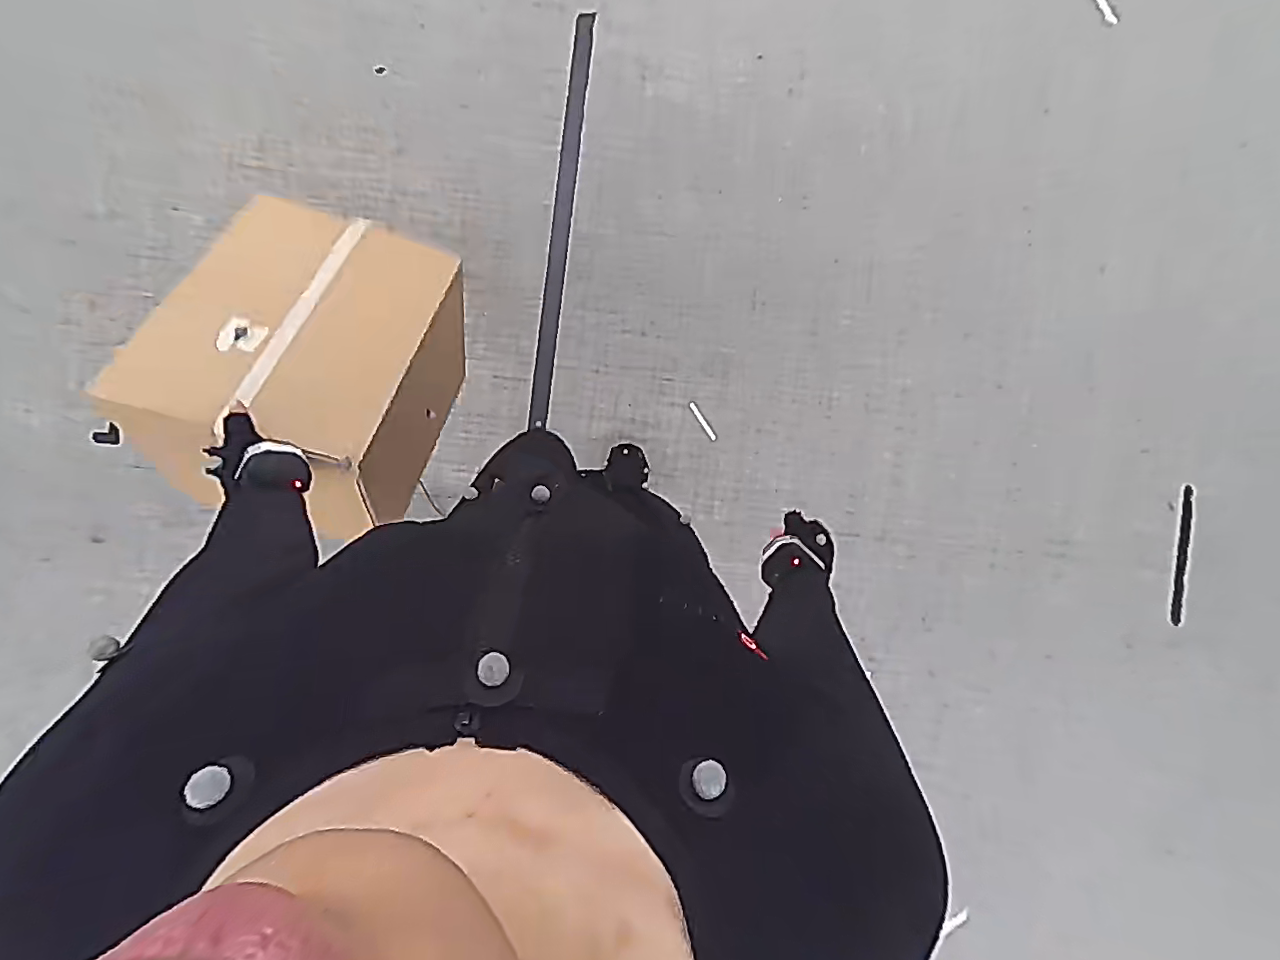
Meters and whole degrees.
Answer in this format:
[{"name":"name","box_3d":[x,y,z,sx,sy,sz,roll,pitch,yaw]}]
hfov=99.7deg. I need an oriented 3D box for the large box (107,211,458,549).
[{"name":"large box","box_3d":[-0.512,-0.151,0.898,0.320,0.320,0.408,14,59,-8]}]
